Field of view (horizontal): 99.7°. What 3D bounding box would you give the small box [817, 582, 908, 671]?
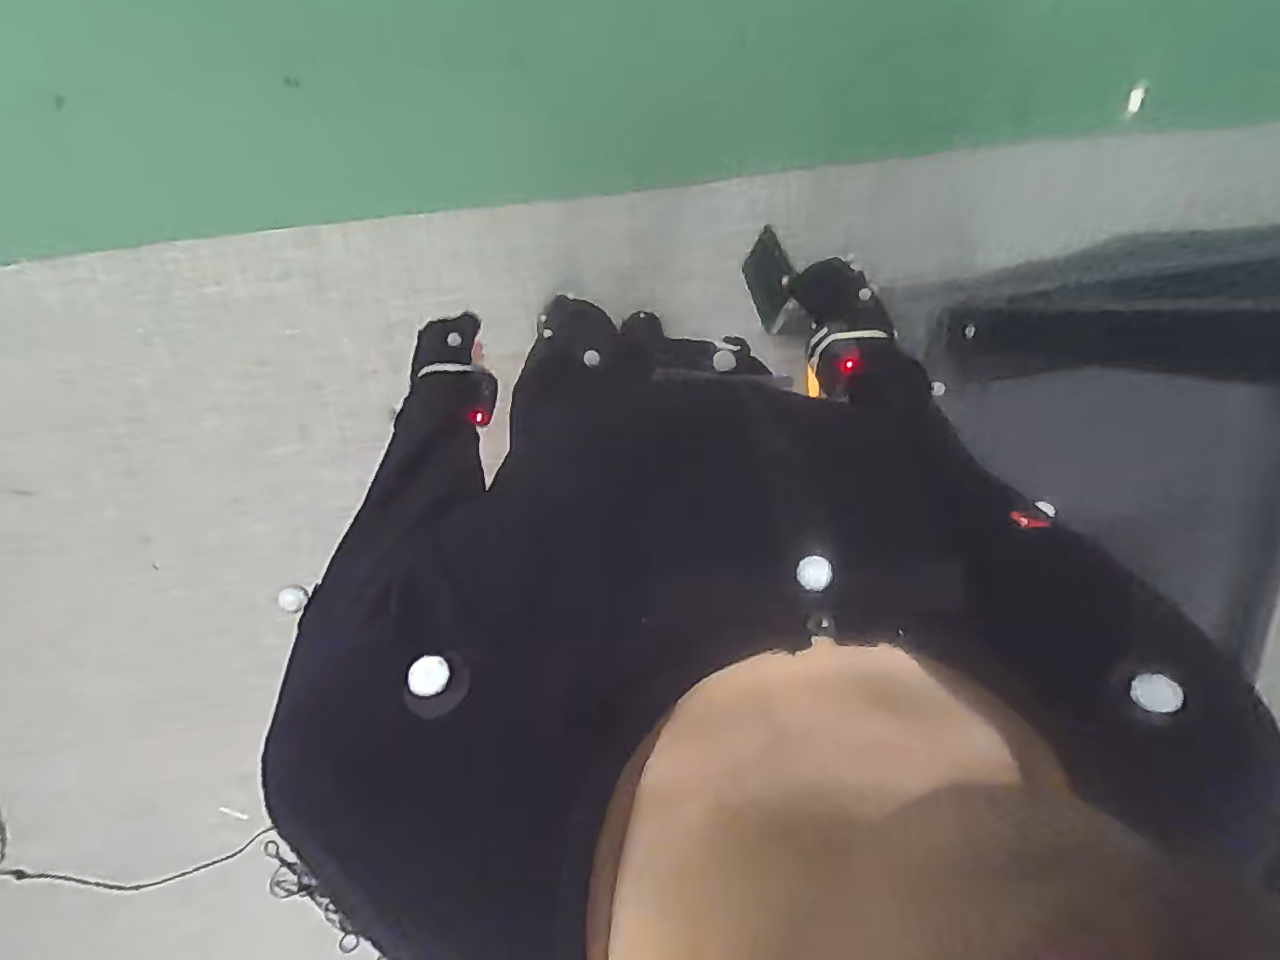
[{"bbox_3d":[0.590,0.389,1.453,0.179,0.176,0.168,-5,107,-2],"label":"small box"}]
